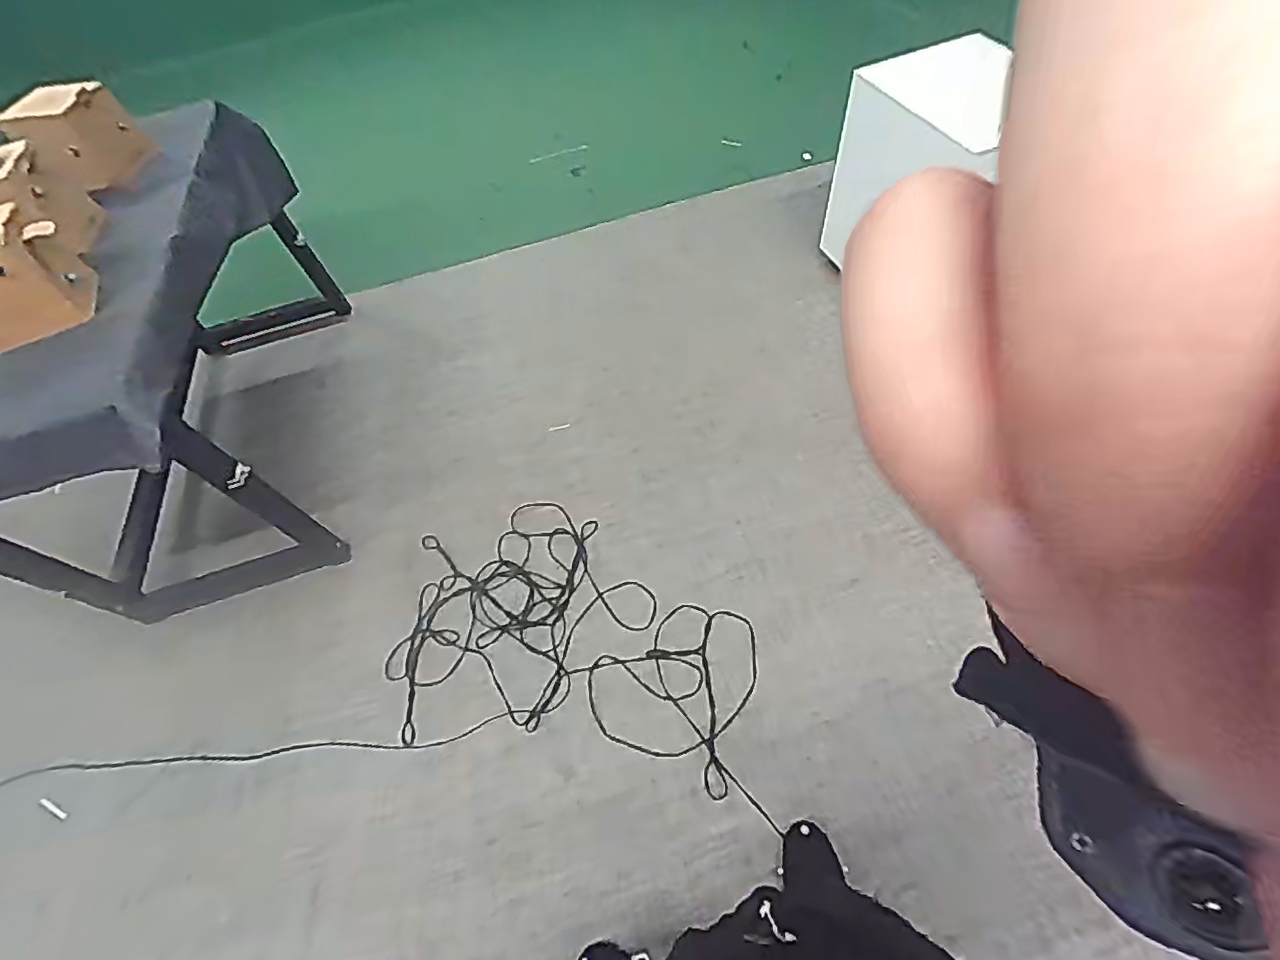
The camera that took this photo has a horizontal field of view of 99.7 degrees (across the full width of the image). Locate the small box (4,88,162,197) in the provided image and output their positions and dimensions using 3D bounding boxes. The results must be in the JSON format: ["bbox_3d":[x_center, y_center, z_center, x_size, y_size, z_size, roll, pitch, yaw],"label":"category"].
[{"bbox_3d":[-1.347,-0.823,1.327,0.179,0.176,0.168,-1,56,8],"label":"small box"}]

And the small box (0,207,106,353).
[{"bbox_3d":[-1.173,-0.368,1.012,0.179,0.176,0.168,-27,58,-10],"label":"small box"}]
